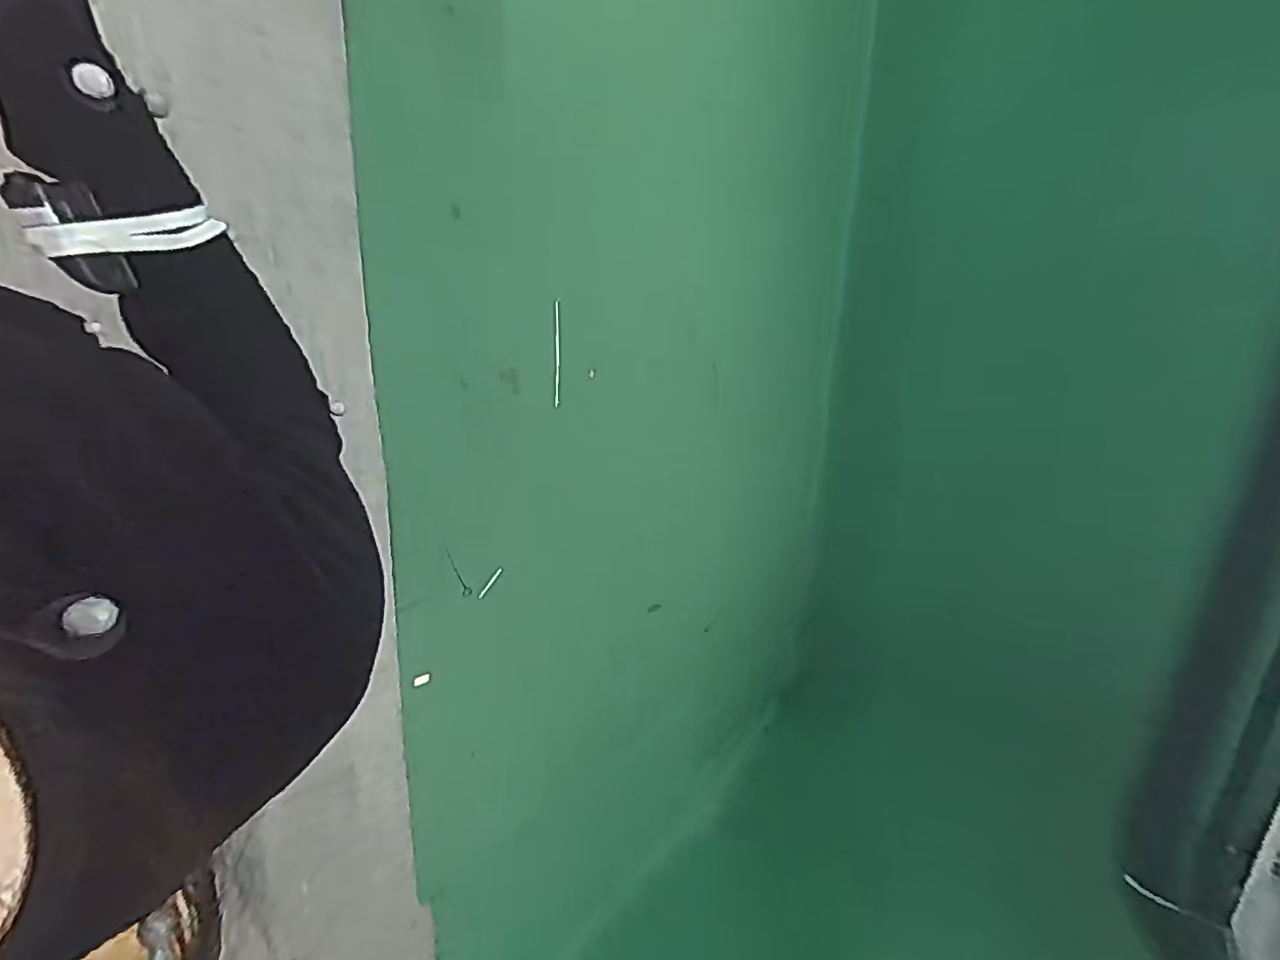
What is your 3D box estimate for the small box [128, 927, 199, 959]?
[{"bbox_3d":[-0.938,1.026,1.027,0.179,0.176,0.168,-16,116,-47],"label":"small box"}]
